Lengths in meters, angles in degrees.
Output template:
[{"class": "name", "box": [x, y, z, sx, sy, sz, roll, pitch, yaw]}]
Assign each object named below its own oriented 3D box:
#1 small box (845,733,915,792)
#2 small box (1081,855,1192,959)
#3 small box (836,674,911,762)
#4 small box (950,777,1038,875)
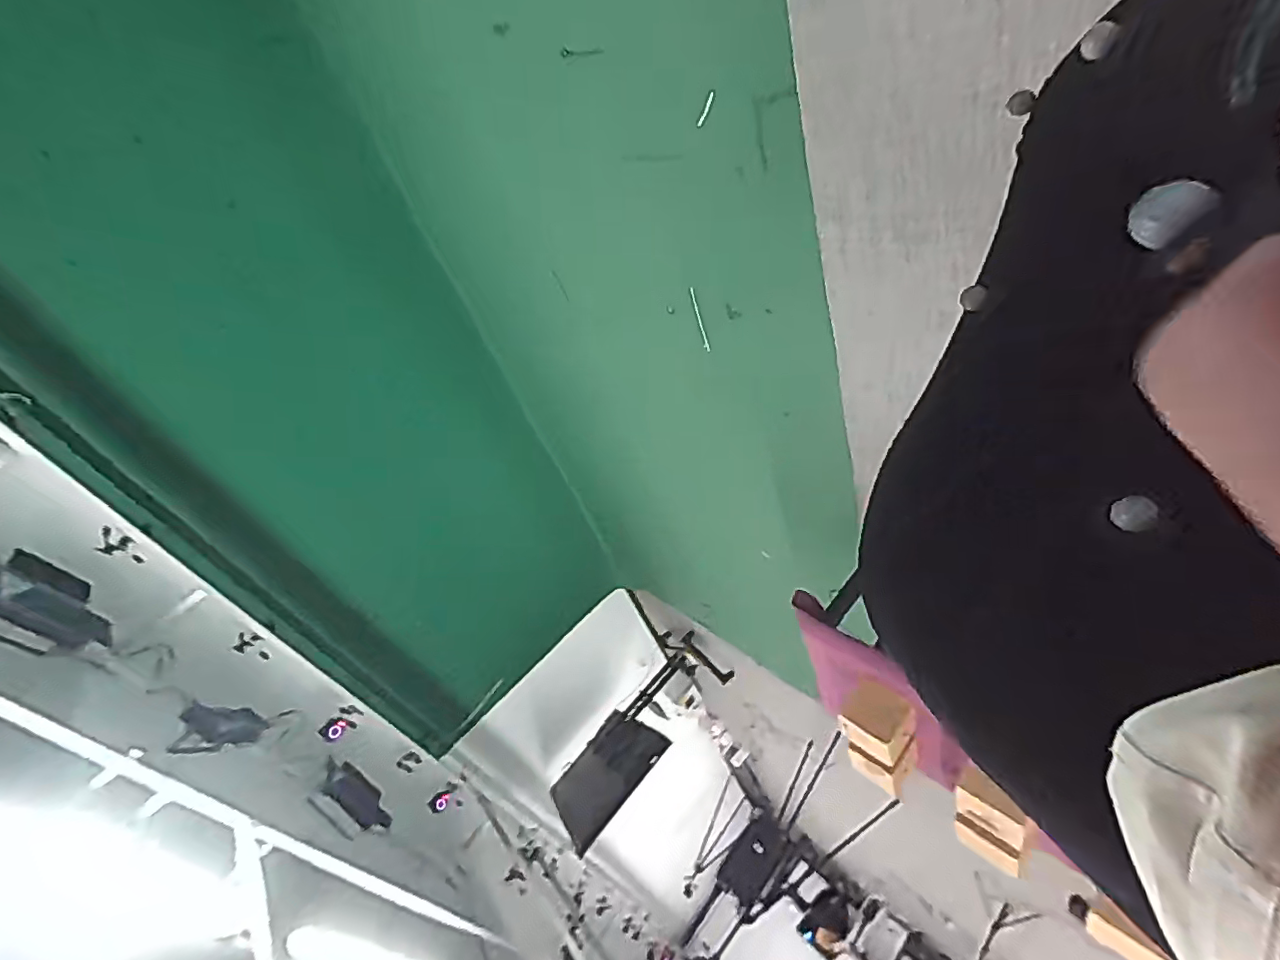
[{"class": "small box", "box": [0.858, 0.959, 1.925, 0.168, 0.176, 0.179, 23, 148, 46]}, {"class": "small box", "box": [1.300, 1.142, 1.418, 0.179, 0.176, 0.168, 20, 144, 49]}, {"class": "small box", "box": [0.774, 0.775, 1.777, 0.179, 0.176, 0.168, 23, 148, 44]}, {"class": "small box", "box": [1.088, 1.053, 1.666, 0.179, 0.176, 0.168, 21, 146, 47]}]
